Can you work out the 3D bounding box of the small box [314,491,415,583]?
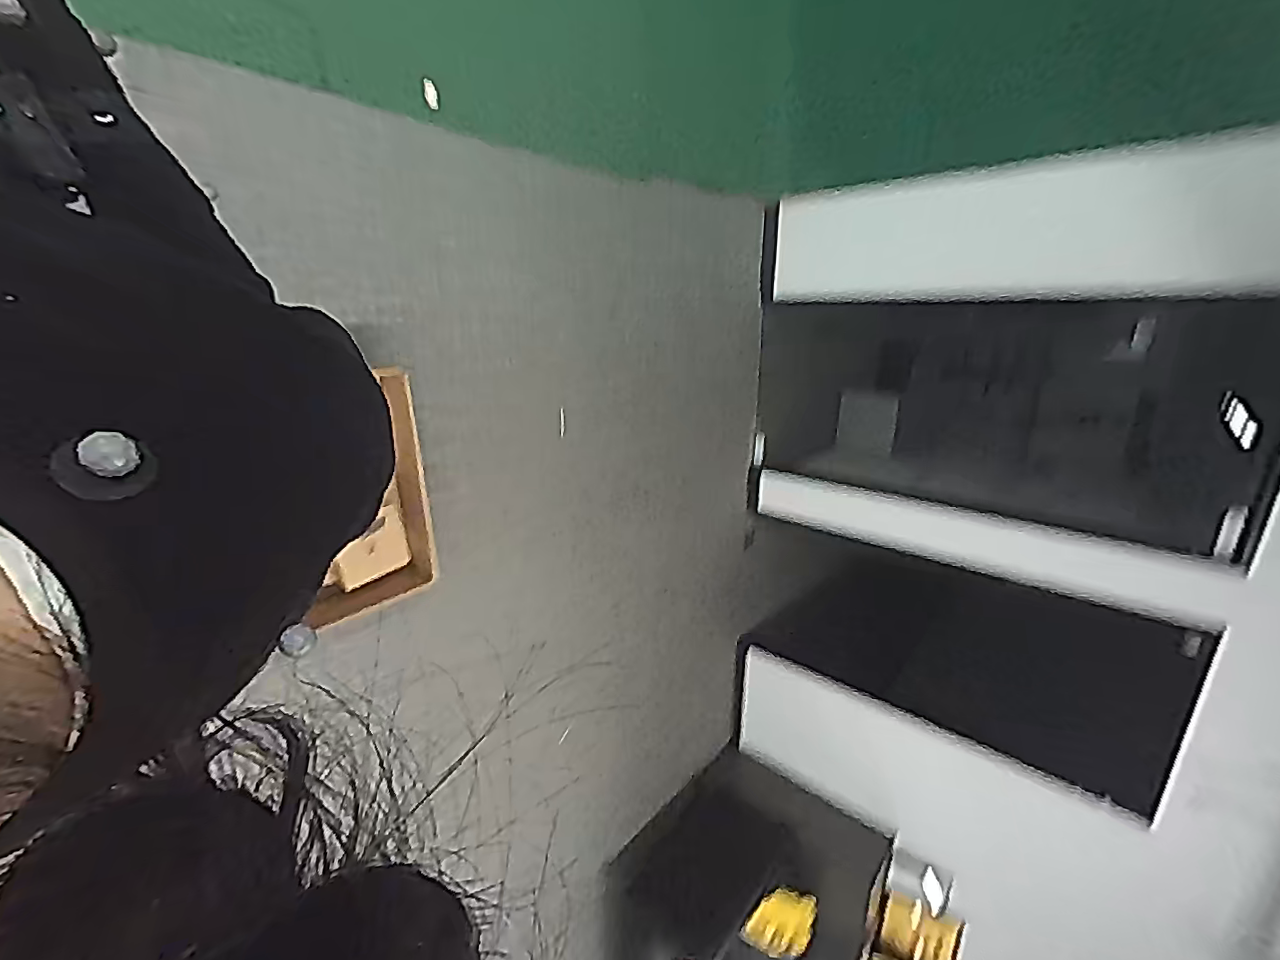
[{"bbox_3d":[-0.727,0.138,1.423,0.168,0.176,0.179,-26,121,-41],"label":"small box"}]
